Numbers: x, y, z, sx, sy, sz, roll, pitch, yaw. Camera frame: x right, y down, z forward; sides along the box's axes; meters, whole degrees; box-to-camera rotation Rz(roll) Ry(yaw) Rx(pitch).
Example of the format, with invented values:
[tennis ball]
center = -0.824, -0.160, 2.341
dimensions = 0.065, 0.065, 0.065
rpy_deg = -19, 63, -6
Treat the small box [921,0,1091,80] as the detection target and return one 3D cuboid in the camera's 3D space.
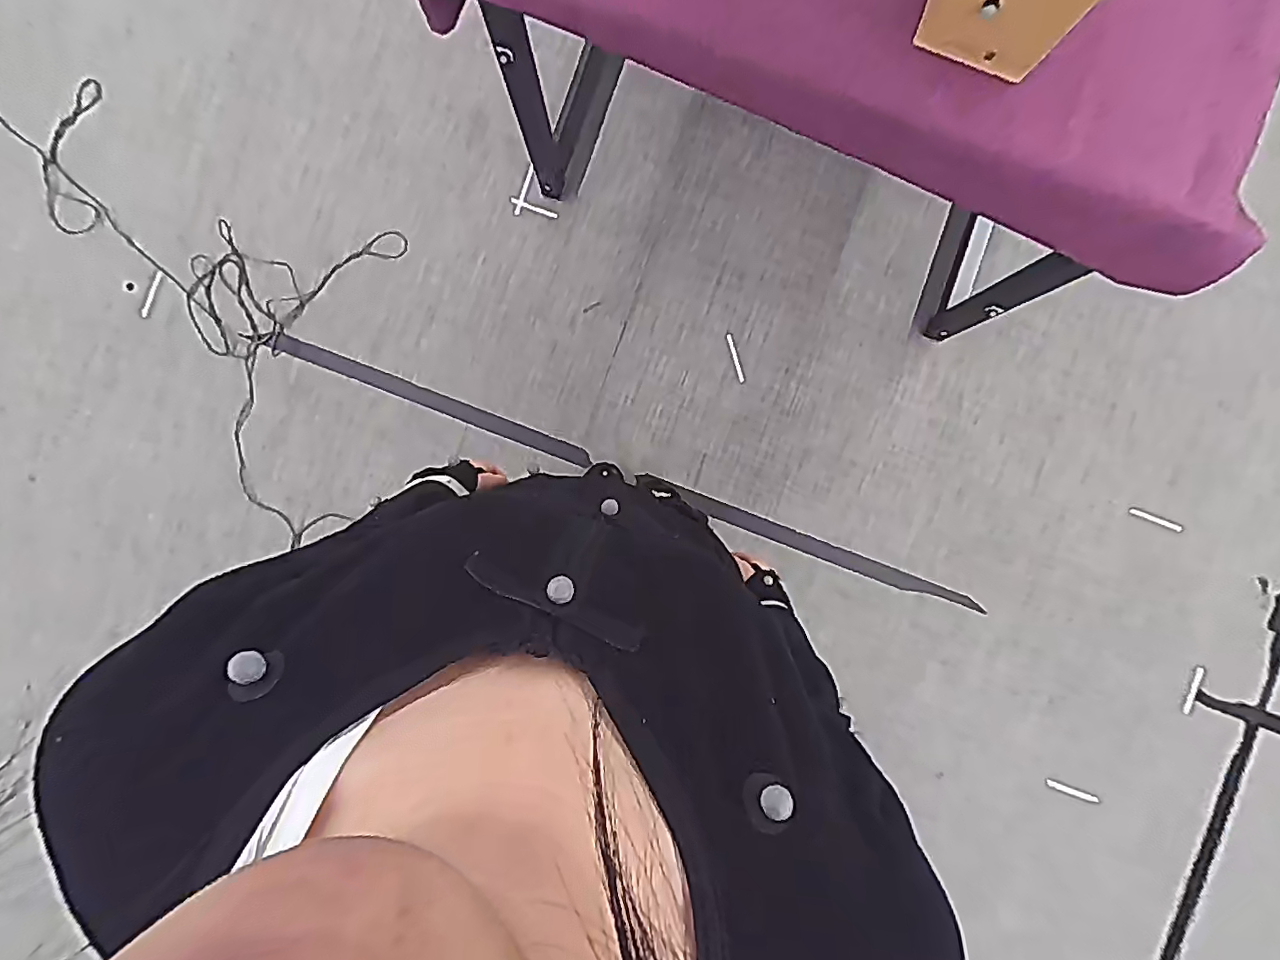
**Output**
[small box]
center = 0.501, -0.680, 0.705
dimensions = 0.168, 0.176, 0.179
rpy_deg = 20, 89, 0
